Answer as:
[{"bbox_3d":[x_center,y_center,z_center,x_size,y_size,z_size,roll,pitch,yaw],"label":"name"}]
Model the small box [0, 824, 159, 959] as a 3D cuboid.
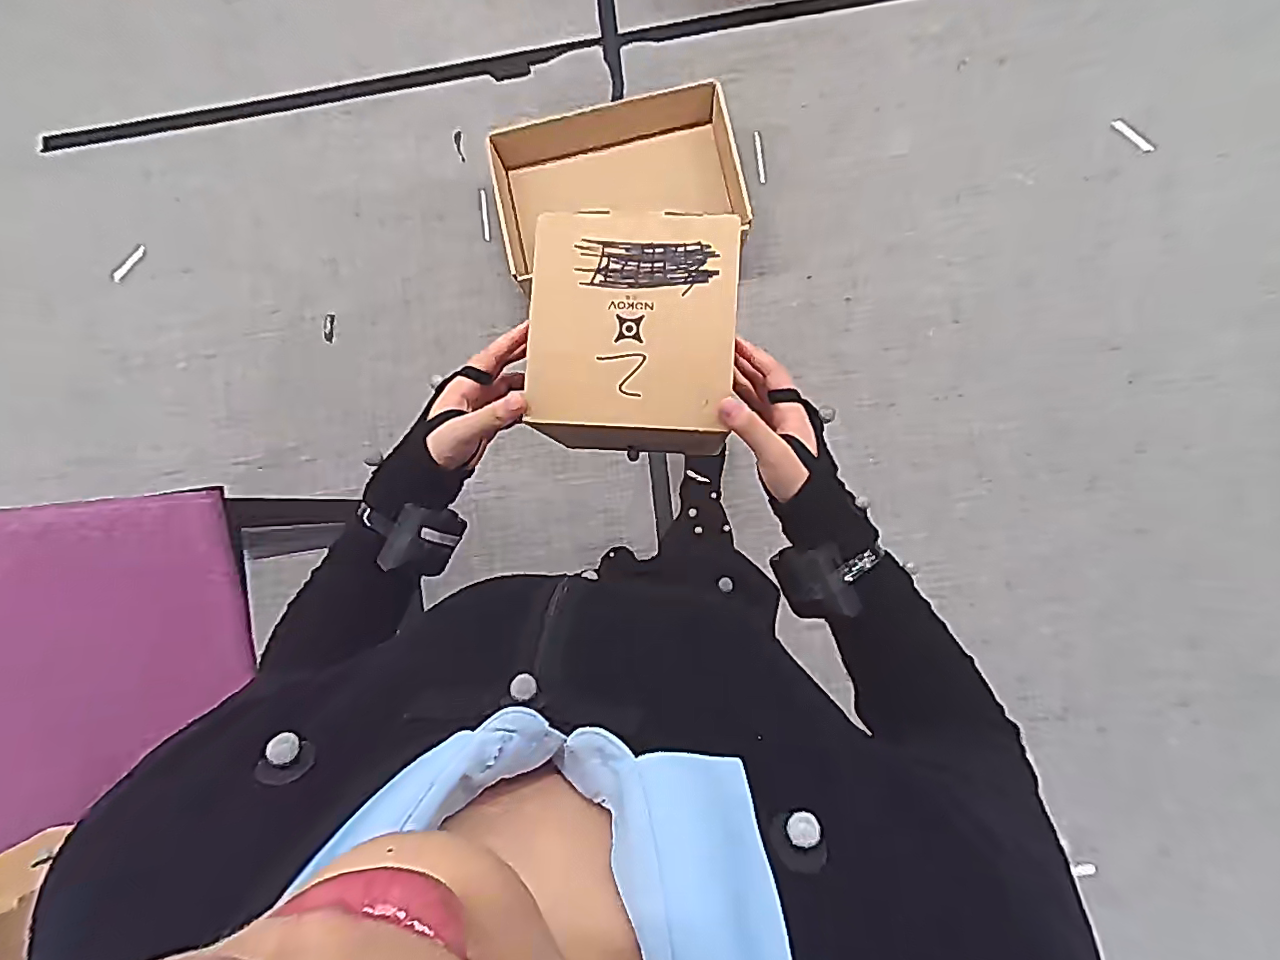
[{"bbox_3d":[-0.774,0.574,0.696,0.168,0.176,0.179,-7,87,3],"label":"small box"}]
